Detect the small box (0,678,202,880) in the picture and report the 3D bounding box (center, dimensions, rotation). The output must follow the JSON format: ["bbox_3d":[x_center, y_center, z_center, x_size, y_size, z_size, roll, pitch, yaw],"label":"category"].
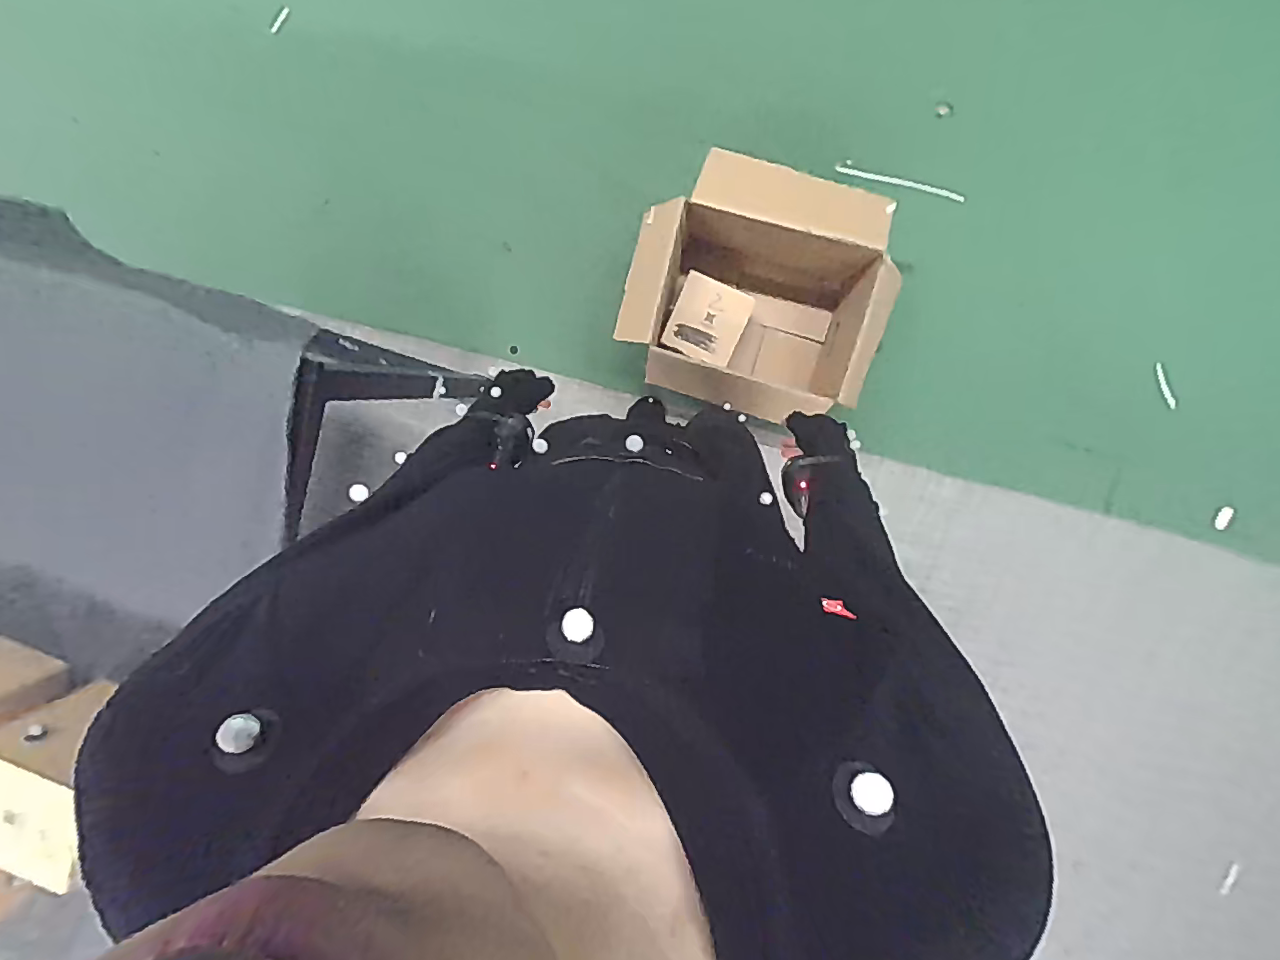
[{"bbox_3d":[-0.805,0.420,0.792,0.179,0.176,0.168,21,101,2],"label":"small box"}]
